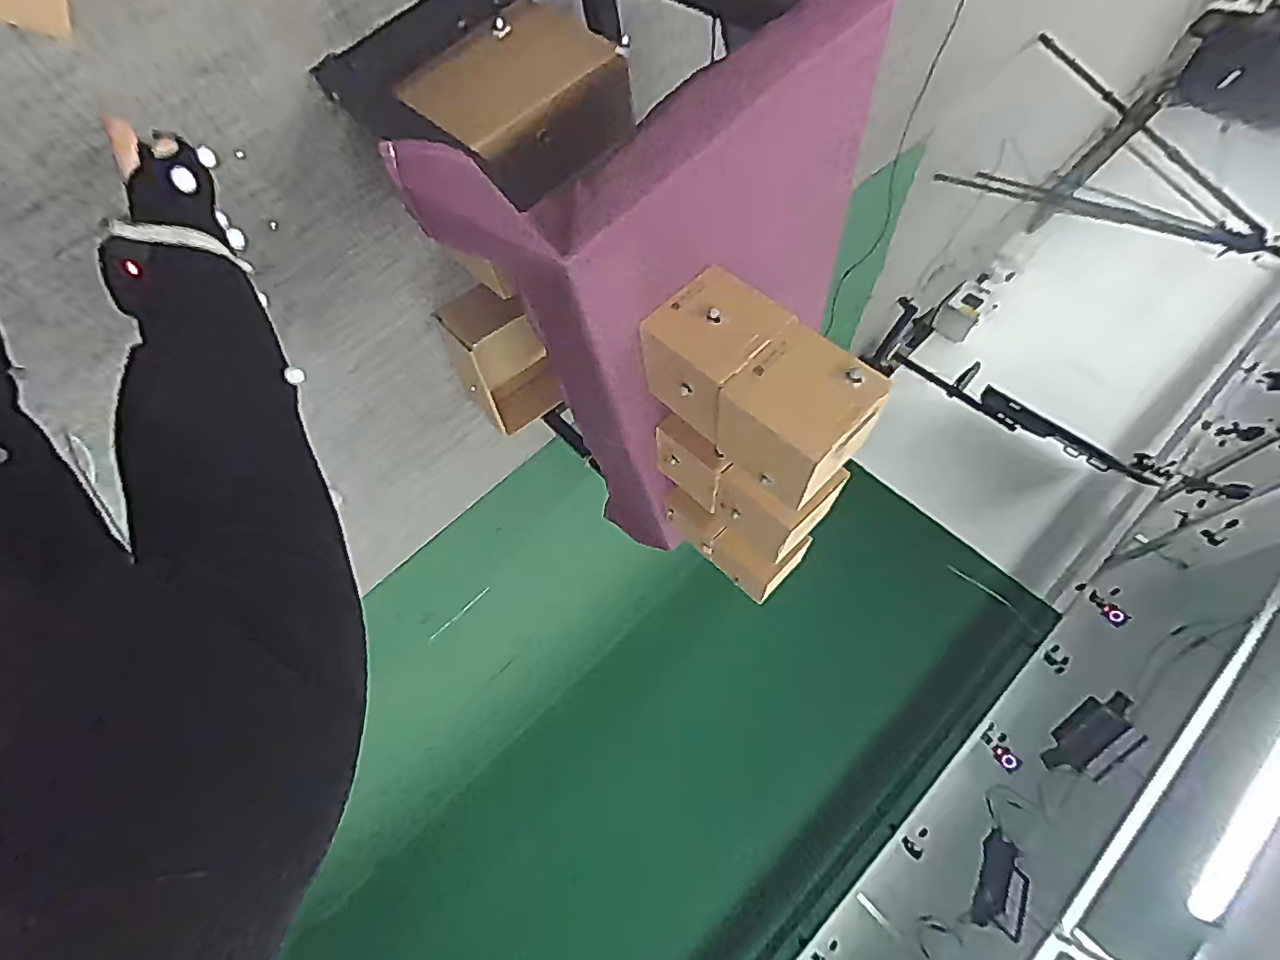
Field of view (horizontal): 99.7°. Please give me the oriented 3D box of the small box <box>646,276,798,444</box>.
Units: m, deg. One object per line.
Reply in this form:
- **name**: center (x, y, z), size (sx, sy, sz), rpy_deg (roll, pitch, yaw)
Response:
- **small box**: center (0.124, -0.197, 0.863), size (0.168, 0.176, 0.179), rpy_deg (-41, 156, -12)

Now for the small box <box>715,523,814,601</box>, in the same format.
- **small box**: center (0.303, 0.172, 1.359), size (0.168, 0.176, 0.179), rpy_deg (-42, 156, -14)

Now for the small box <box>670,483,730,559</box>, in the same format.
- **small box**: center (0.191, 0.070, 1.418), size (0.179, 0.176, 0.168), rpy_deg (-42, 157, -13)

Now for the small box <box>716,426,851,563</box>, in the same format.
- **small box**: center (0.277, 0.025, 1.073), size (0.179, 0.176, 0.168), rpy_deg (-39, 155, -18)

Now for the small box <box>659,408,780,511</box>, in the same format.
- **small box**: center (0.160, -0.075, 1.133), size (0.179, 0.176, 0.168), rpy_deg (-39, 156, -17)
